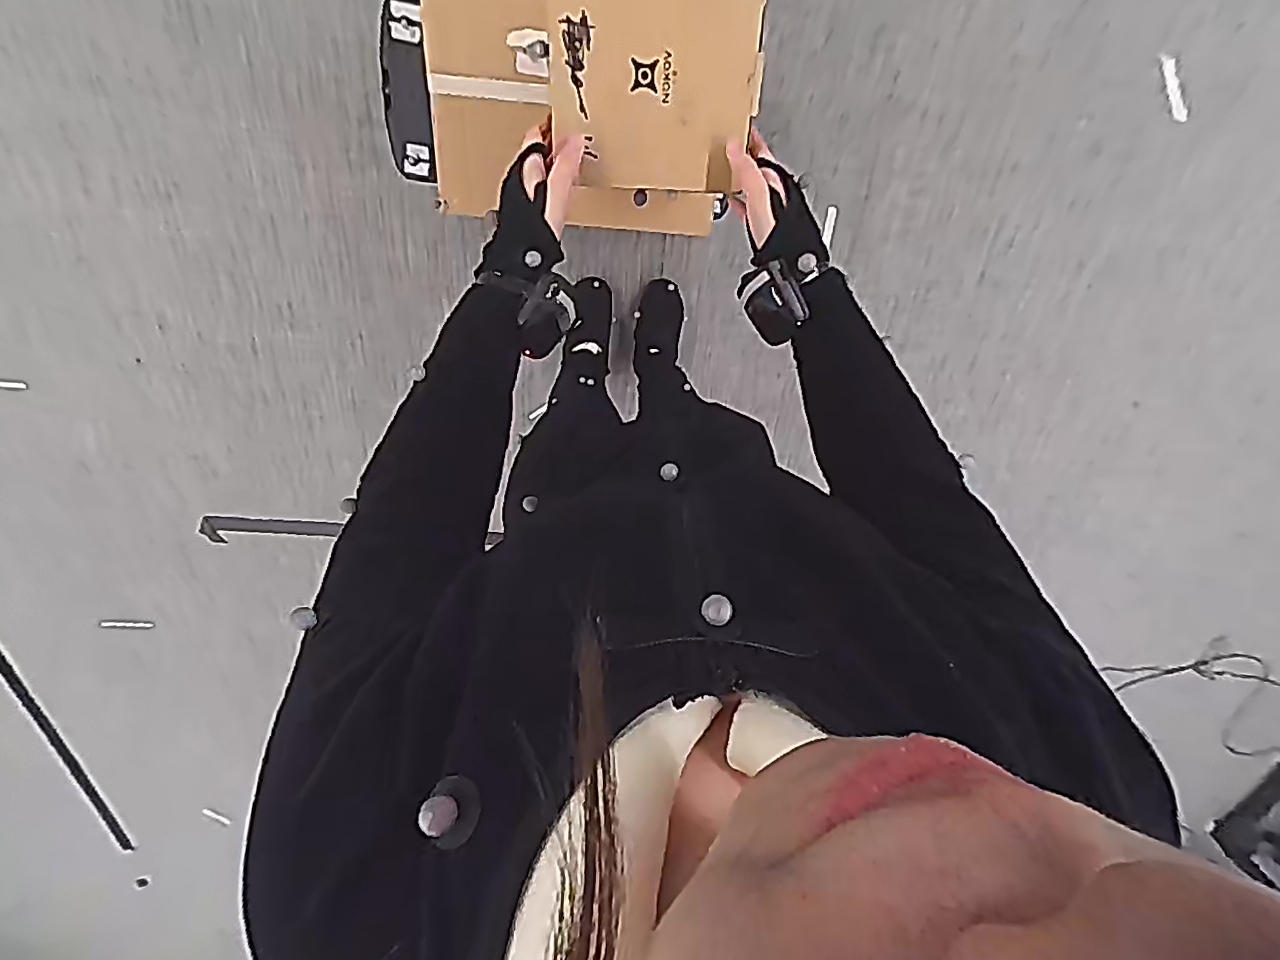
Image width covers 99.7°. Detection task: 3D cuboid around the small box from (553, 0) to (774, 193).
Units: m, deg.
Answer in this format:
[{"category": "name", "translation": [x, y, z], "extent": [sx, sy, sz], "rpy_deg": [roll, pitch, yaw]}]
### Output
[{"category": "small box", "translation": [0.009, -0.372, 0.512], "extent": [0.179, 0.176, 0.168], "rpy_deg": [1, 118, -5]}]

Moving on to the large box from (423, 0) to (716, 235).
[{"category": "large box", "translation": [-0.085, -0.585, 0.856], "extent": [0.408, 0.320, 0.320], "rpy_deg": [3, 118, -4]}]
